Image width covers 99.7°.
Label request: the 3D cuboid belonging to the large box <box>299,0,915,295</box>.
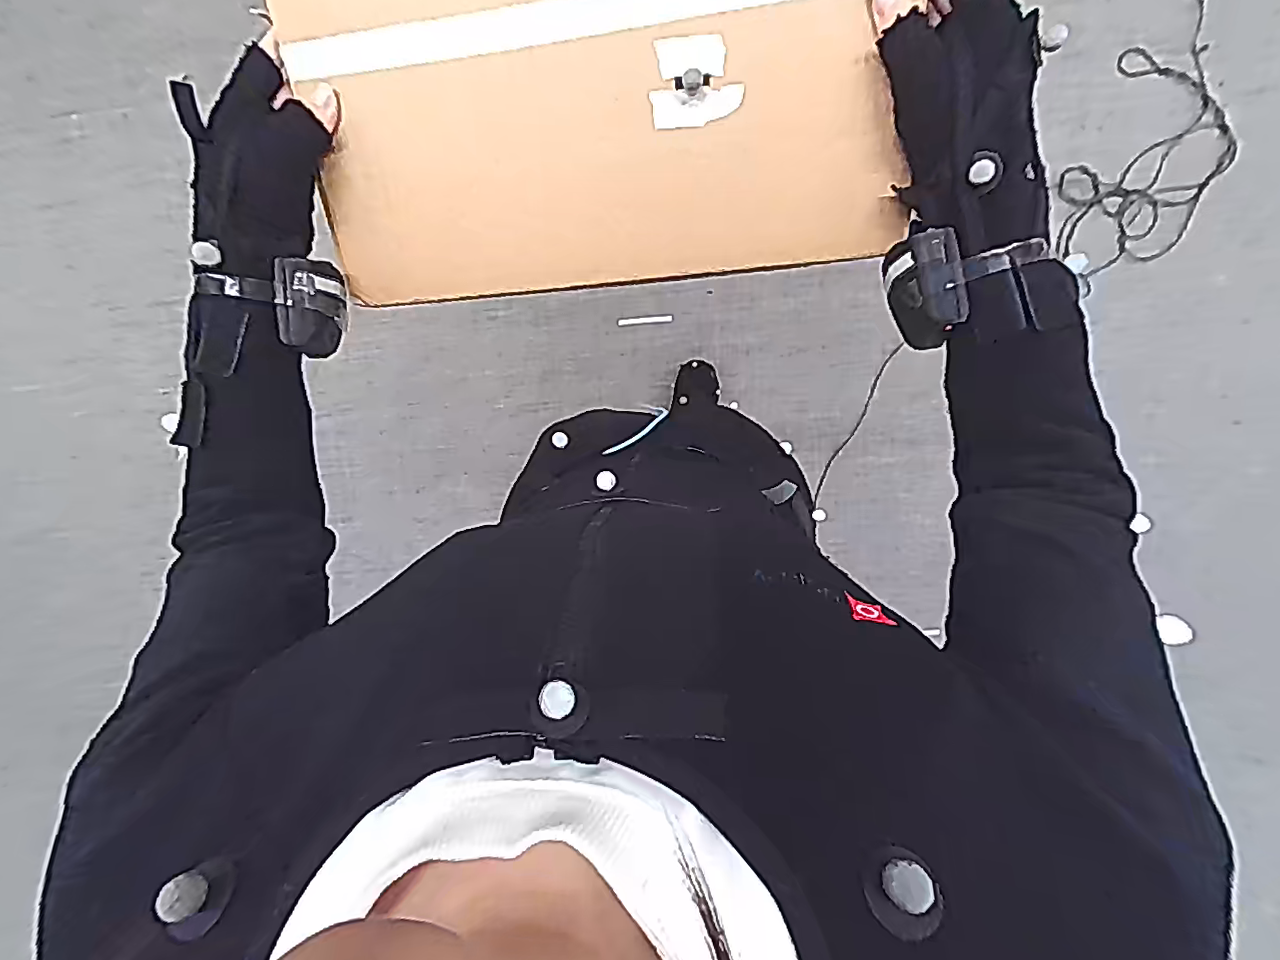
[{"bbox_3d":[-0.017,-0.355,0.487,0.408,0.320,0.320,-4,111,7],"label":"large box"}]
